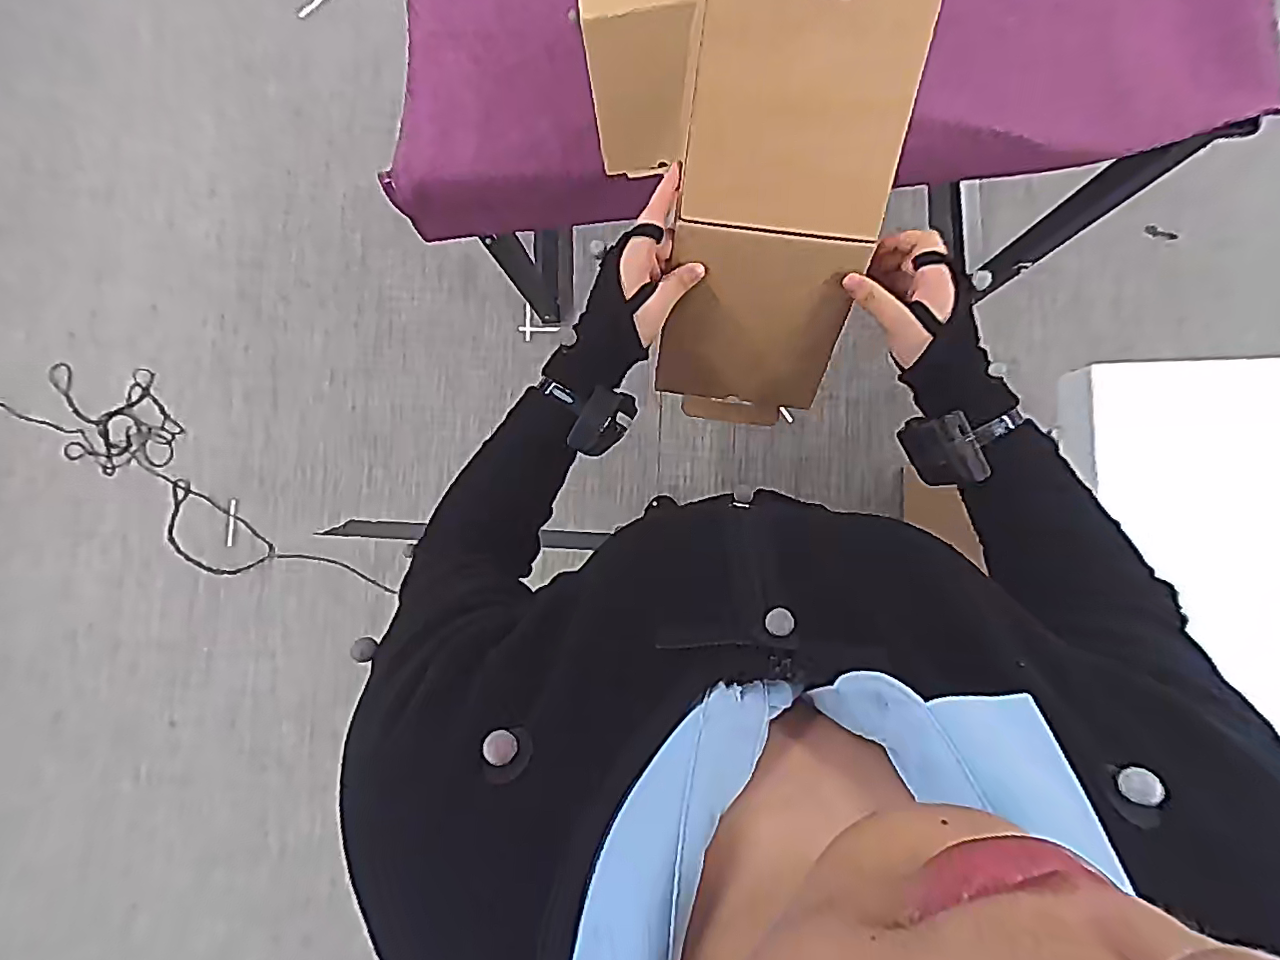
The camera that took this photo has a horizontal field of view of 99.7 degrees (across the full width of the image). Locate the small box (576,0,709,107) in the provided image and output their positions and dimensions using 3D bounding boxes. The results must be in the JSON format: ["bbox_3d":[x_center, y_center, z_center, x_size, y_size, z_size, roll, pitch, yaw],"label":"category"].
[{"bbox_3d":[0.004,-0.647,0.737,0.168,0.176,0.179,-6,85,3],"label":"small box"}]
